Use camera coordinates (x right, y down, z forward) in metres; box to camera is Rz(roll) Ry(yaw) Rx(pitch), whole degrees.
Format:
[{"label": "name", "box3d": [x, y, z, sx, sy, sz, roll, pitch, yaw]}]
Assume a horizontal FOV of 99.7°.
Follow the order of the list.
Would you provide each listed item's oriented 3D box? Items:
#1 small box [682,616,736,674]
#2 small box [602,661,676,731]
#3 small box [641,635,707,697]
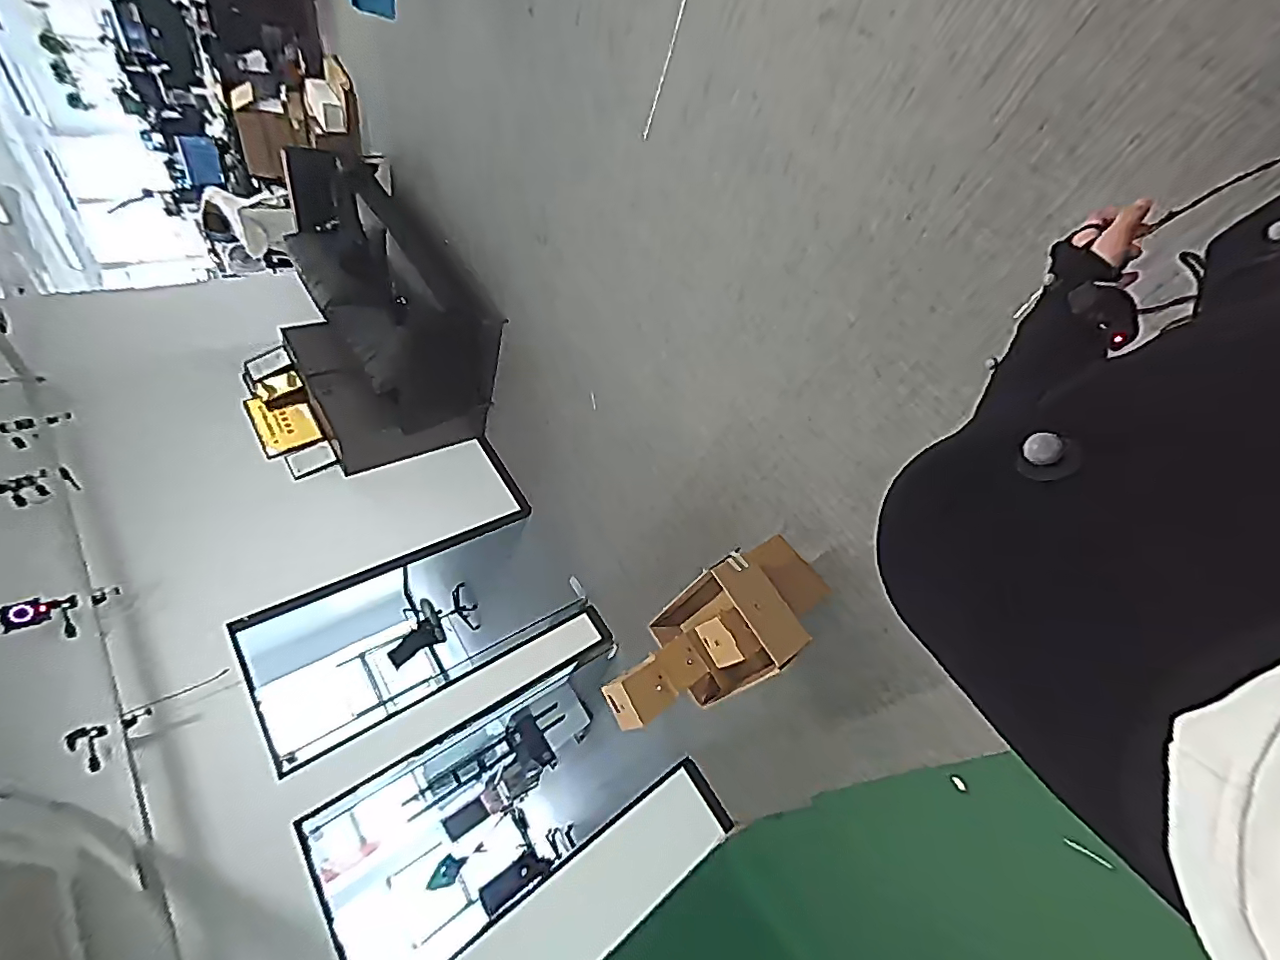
[{"label": "small box", "box3d": [0.243, 0.662, 2.109, 0.168, 0.176, 0.179, 54, 142, 18]}, {"label": "small box", "box3d": [-0.002, 0.766, 1.919, 0.168, 0.176, 0.179, 60, 143, 11]}, {"label": "small box", "box3d": [0.122, 0.710, 2.013, 0.168, 0.176, 0.179, 54, 142, 19]}]
